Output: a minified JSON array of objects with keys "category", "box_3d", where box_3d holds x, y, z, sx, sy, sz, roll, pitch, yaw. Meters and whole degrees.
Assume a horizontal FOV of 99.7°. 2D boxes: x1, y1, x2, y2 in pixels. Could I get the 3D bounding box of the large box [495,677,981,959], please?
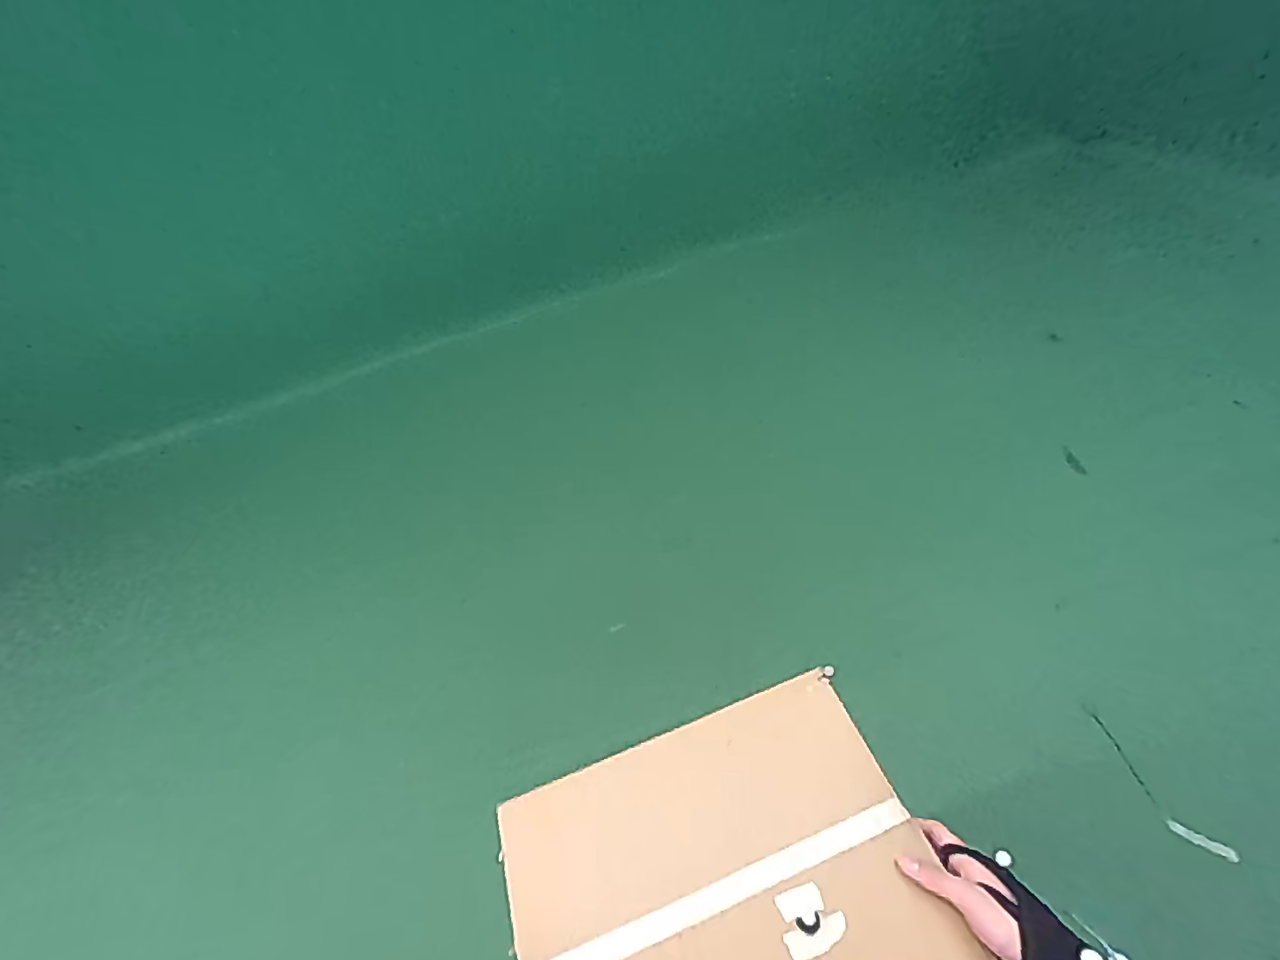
[{"category":"large box","box_3d":[0.093,0.509,0.641,0.408,0.320,0.320,-21,50,-7]}]
